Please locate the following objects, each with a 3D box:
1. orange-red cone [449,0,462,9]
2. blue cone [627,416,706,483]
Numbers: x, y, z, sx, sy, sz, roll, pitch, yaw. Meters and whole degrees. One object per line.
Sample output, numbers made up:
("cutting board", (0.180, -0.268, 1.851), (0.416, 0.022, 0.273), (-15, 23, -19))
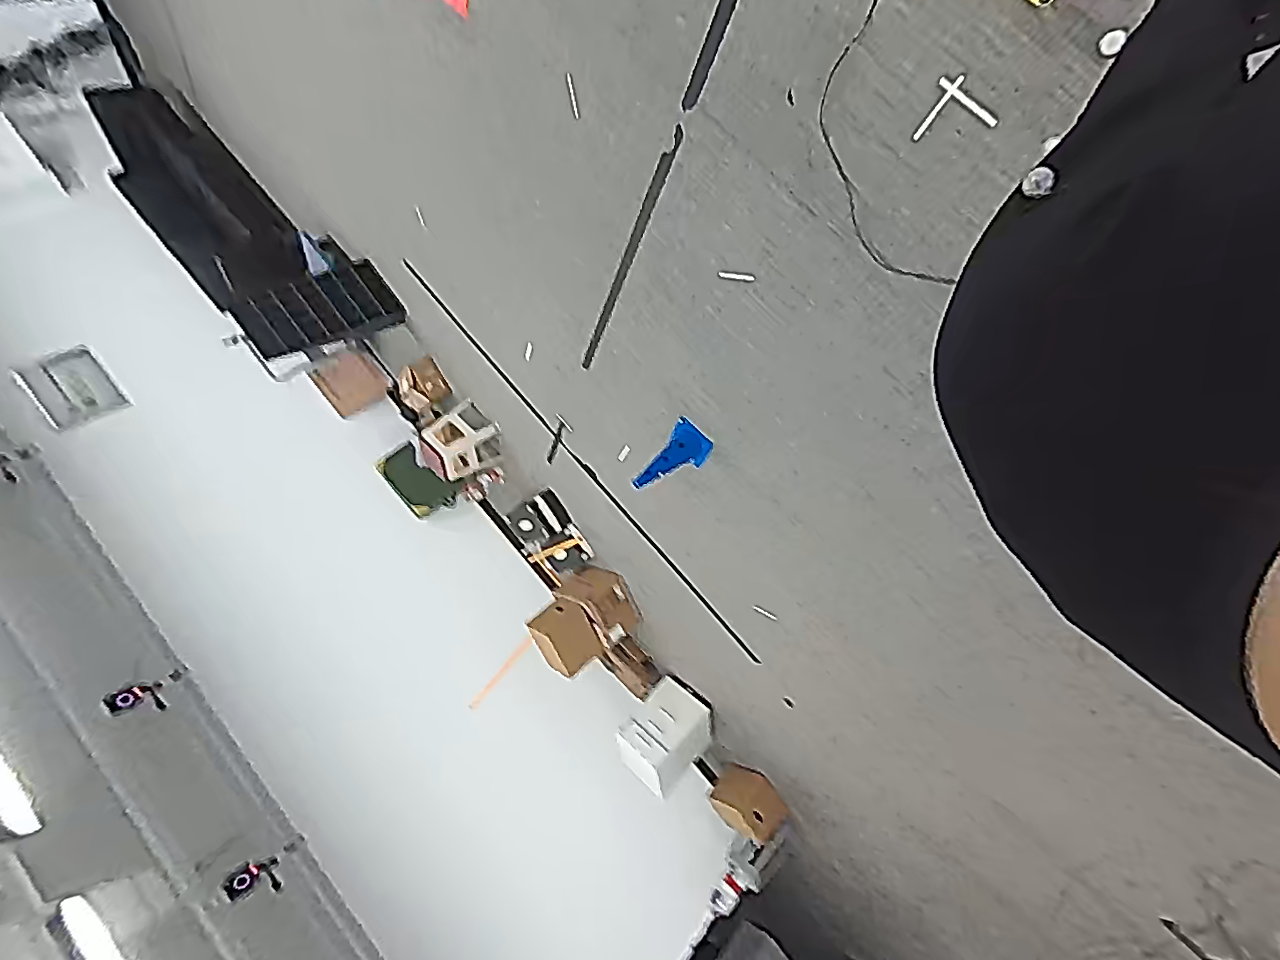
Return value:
("orange-red cone", (-0.818, -1.759, 1.851), (0.198, 0.360, 0.199), (47, 150, 12))
("blue cone", (0.093, -0.091, 2.321), (0.192, 0.380, 0.193), (46, 149, 12))
